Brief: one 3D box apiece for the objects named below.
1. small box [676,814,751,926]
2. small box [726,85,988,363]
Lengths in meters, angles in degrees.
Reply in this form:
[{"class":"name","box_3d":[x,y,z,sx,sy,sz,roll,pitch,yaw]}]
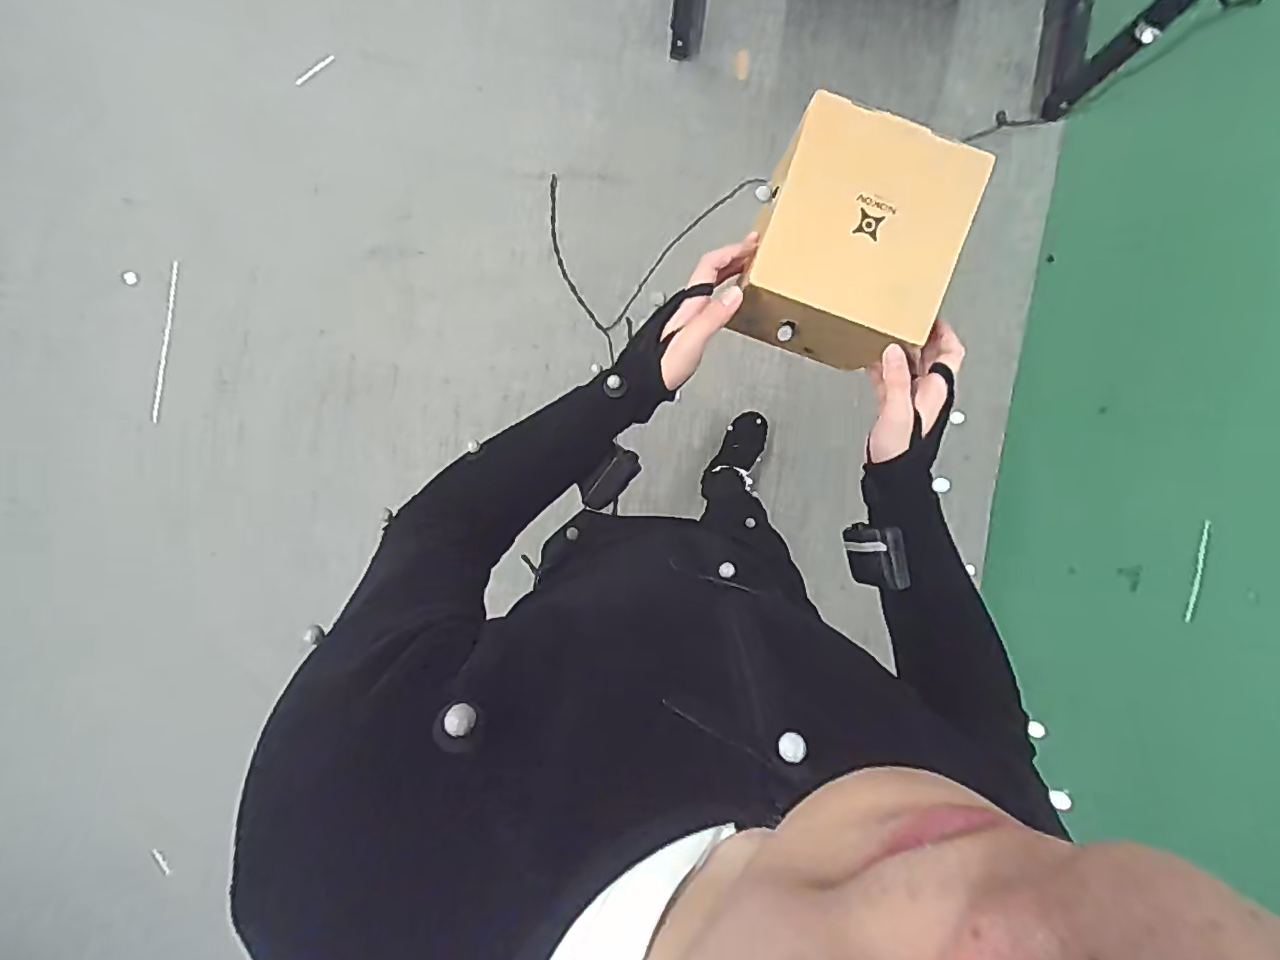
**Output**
[{"class":"small box","box_3d":[0.196,1.067,1.494,0.168,0.176,0.179,11,91,1]},{"class":"small box","box_3d":[0.194,-0.233,0.543,0.168,0.176,0.179,19,93,-1]}]
